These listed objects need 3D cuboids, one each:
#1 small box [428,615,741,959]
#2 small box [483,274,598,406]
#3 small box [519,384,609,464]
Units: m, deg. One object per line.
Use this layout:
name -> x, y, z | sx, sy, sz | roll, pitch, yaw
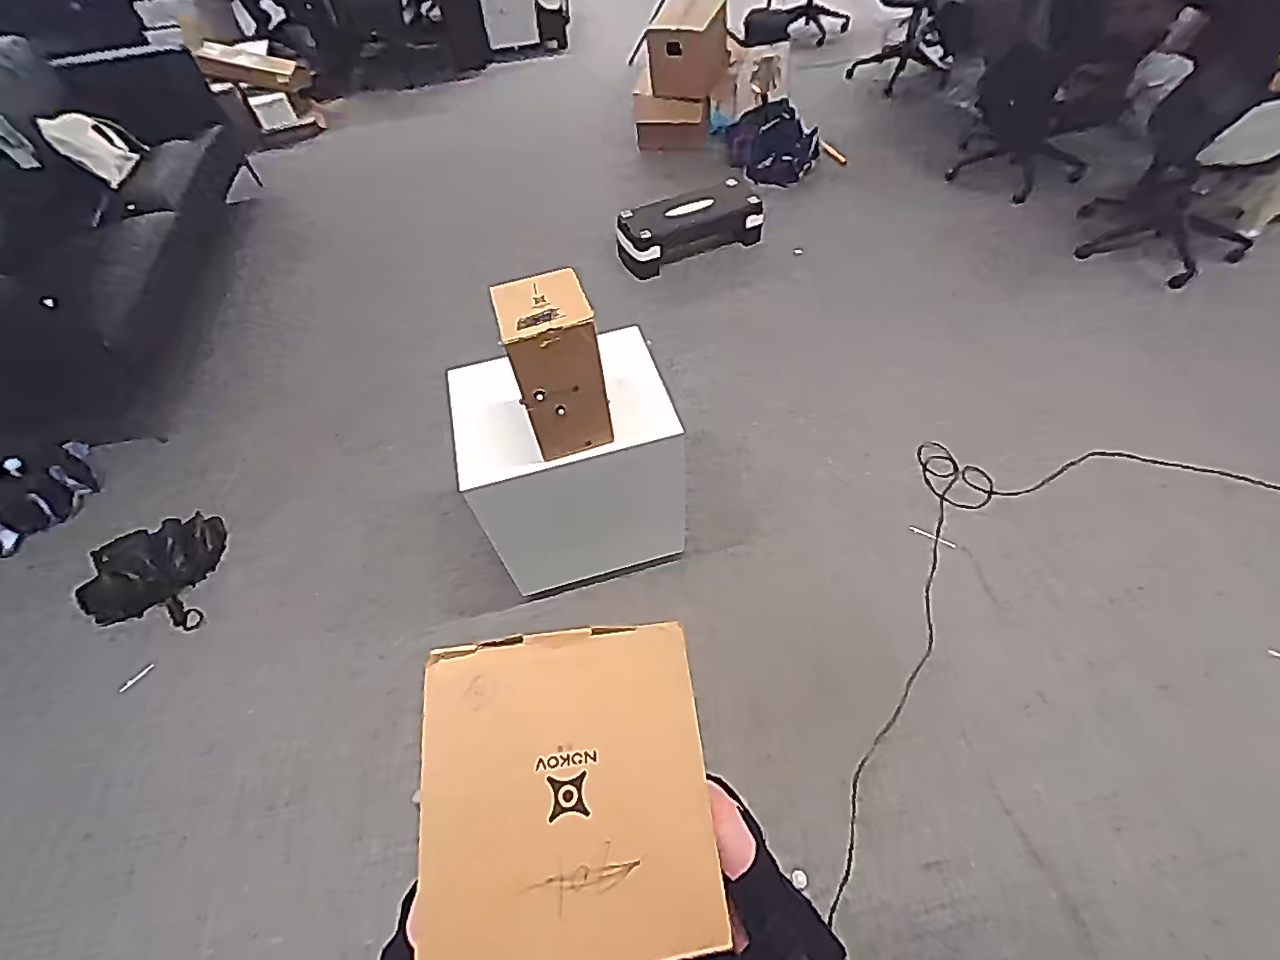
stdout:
small box -> -0.043, 0.209, 0.386 | 0.168, 0.176, 0.179 | -5, 65, -7
small box -> -0.189, -0.265, 1.053 | 0.168, 0.176, 0.179 | -18, 53, -8
small box -> -0.177, -0.166, 1.185 | 0.168, 0.176, 0.179 | -19, 53, -8
